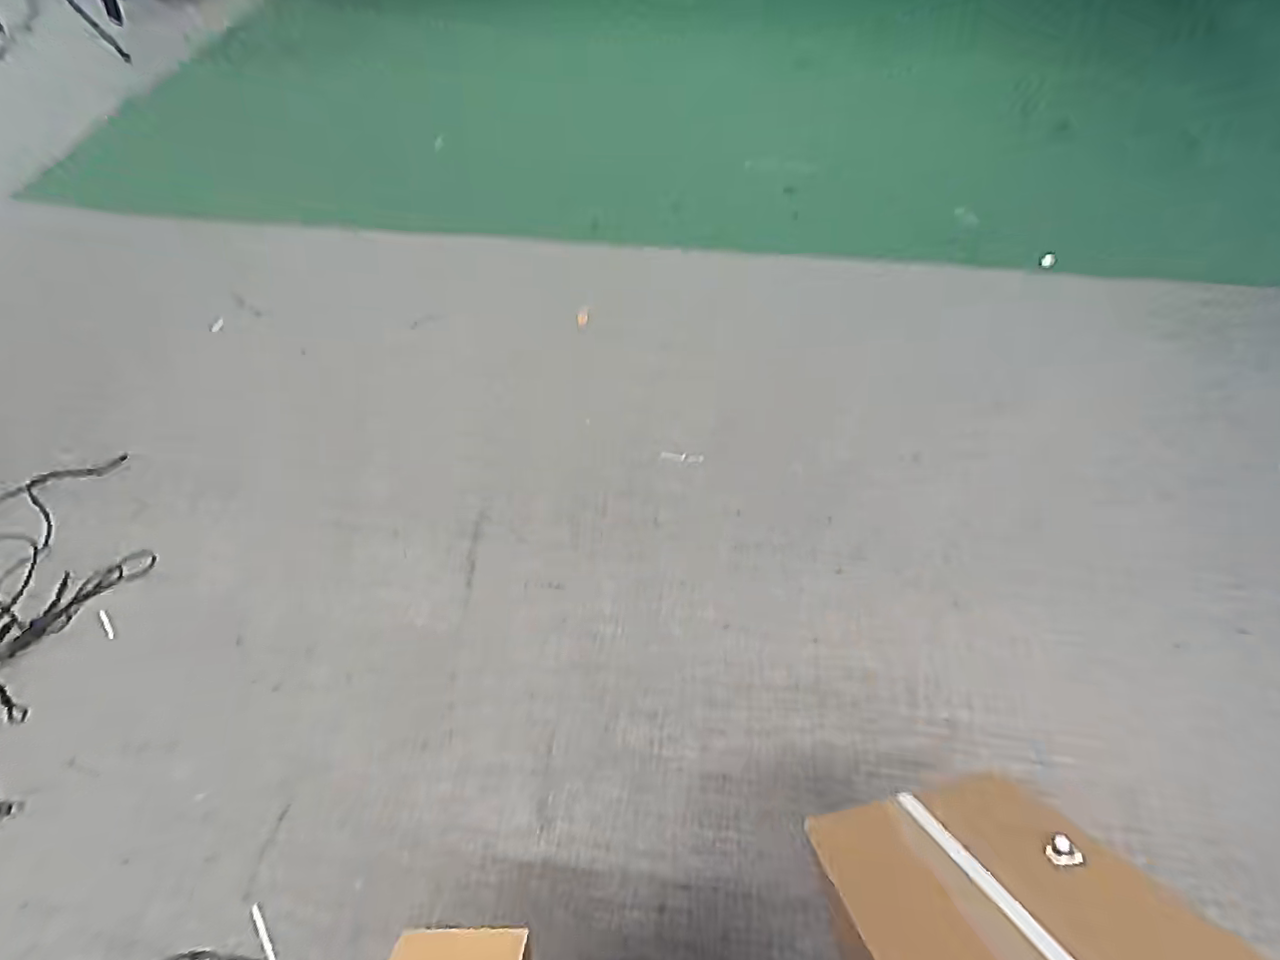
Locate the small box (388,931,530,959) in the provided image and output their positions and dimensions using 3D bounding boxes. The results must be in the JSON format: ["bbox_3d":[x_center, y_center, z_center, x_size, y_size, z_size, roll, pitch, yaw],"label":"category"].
[{"bbox_3d":[-0.219,0.663,0.610,0.168,0.176,0.179,-4,14,4],"label":"small box"}]
